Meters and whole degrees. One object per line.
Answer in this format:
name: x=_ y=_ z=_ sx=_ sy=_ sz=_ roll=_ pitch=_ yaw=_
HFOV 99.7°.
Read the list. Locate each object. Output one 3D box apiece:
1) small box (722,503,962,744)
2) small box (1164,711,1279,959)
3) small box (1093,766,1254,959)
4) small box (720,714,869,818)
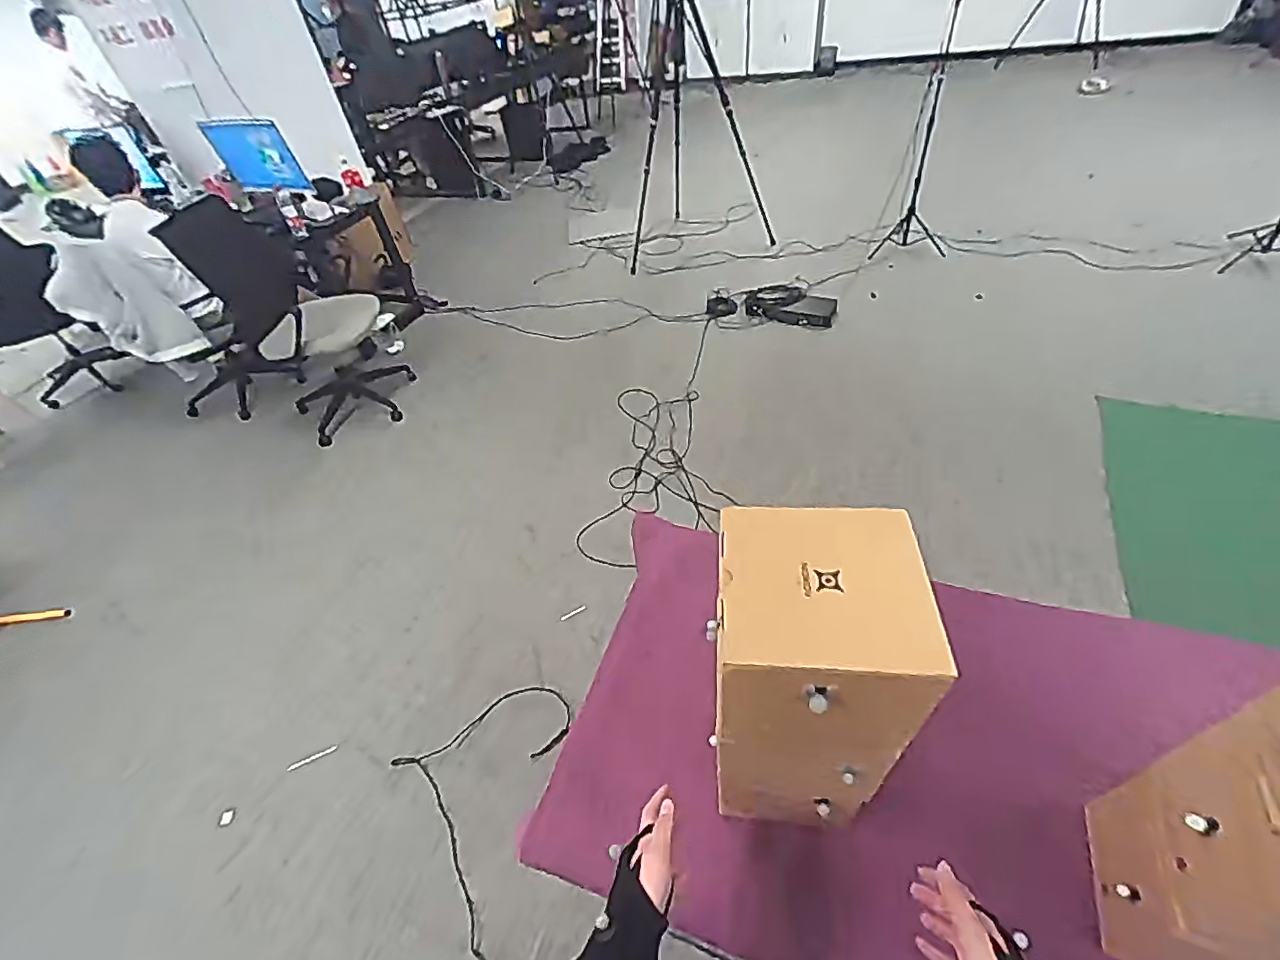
small box: x=0.169 y=0.139 z=0.519 sx=0.179 sy=0.176 sz=0.168 roll=0 pitch=47 yaw=9
small box: x=0.622 y=0.342 z=0.483 sx=0.179 sy=0.176 sz=0.168 roll=11 pitch=50 yaw=21
small box: x=0.640 y=0.456 z=0.598 sx=0.179 sy=0.176 sz=0.168 roll=14 pitch=50 yaw=21
small box: x=0.204 y=0.358 z=0.760 sx=0.179 sy=0.176 sz=0.168 roll=1 pitch=47 yaw=10
